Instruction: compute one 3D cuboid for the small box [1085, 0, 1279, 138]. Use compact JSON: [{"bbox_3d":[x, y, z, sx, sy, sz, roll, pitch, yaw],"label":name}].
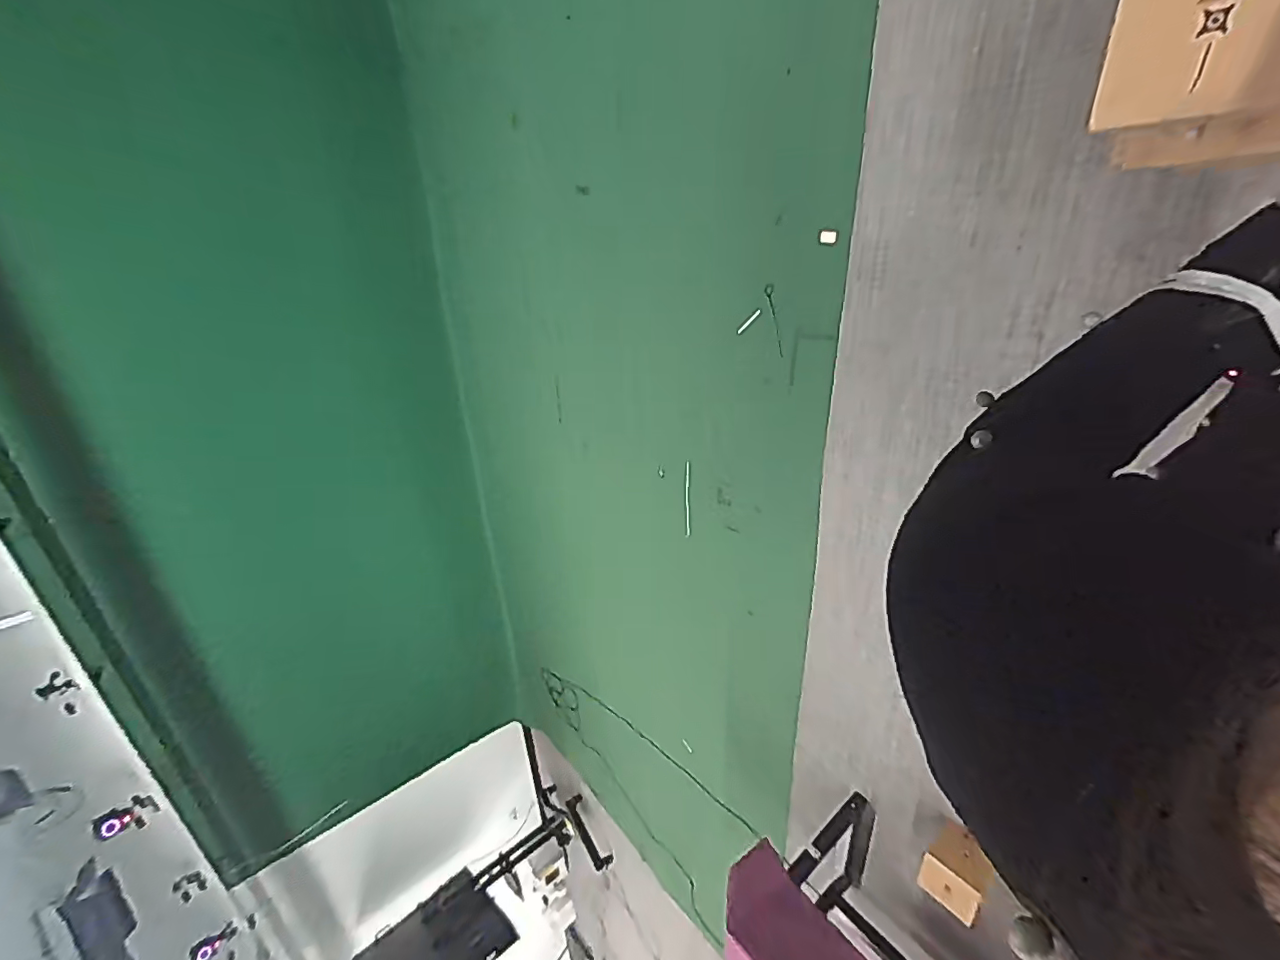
[{"bbox_3d":[0.616,-0.473,0.570,0.168,0.176,0.179,25,130,44],"label":"small box"}]
